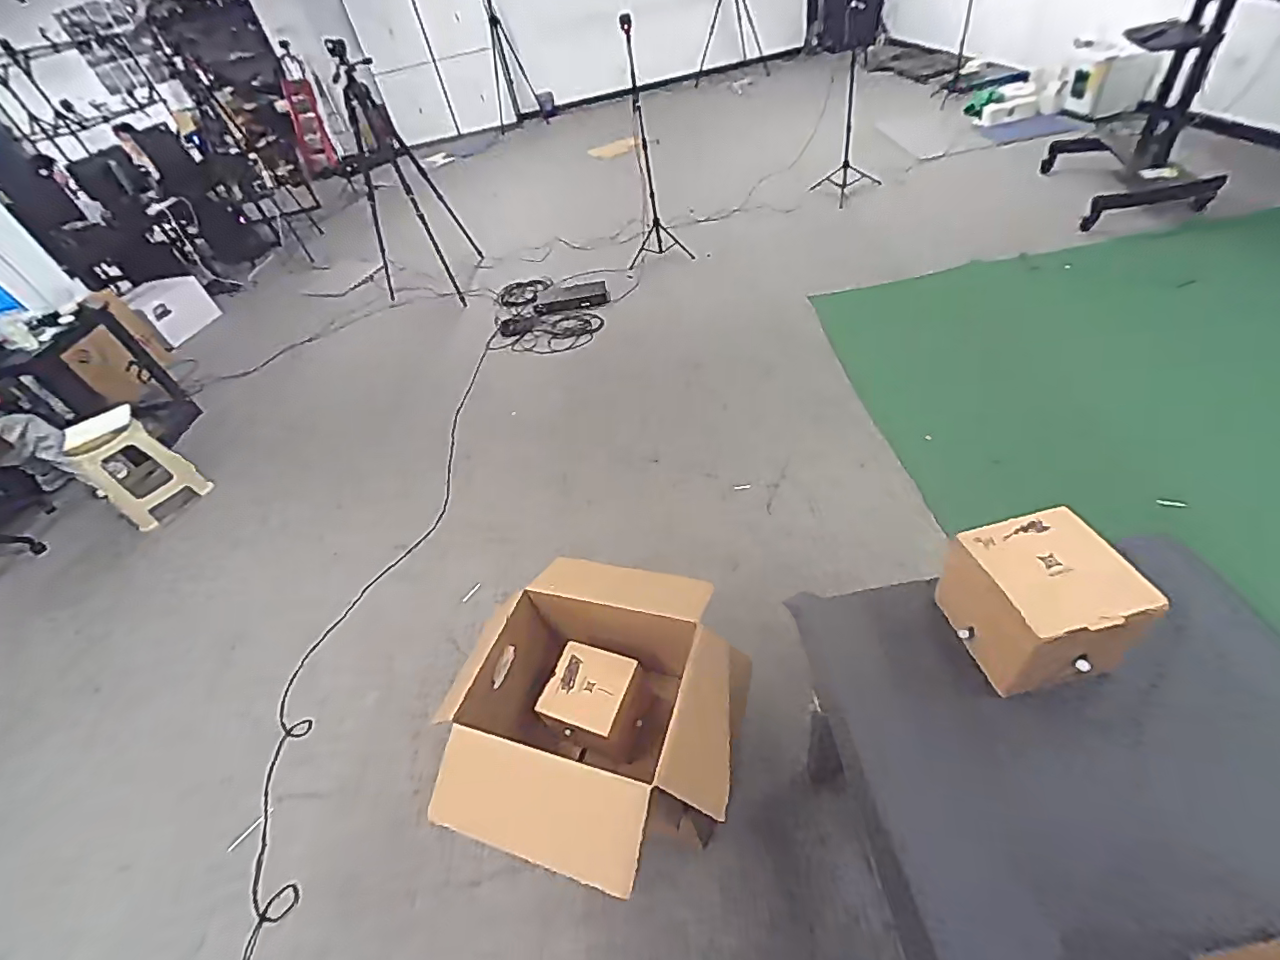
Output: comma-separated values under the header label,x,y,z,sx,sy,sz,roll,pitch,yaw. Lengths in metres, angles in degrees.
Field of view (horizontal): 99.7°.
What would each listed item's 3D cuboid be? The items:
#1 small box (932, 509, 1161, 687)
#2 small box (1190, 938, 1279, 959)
label,x,y,z,sx,sy,sz,roll,pitch,yaw
small box,0.551,0.173,0.766,0.168,0.176,0.179,-14,45,0
small box,0.624,0.485,0.432,0.168,0.176,0.179,-7,43,5
